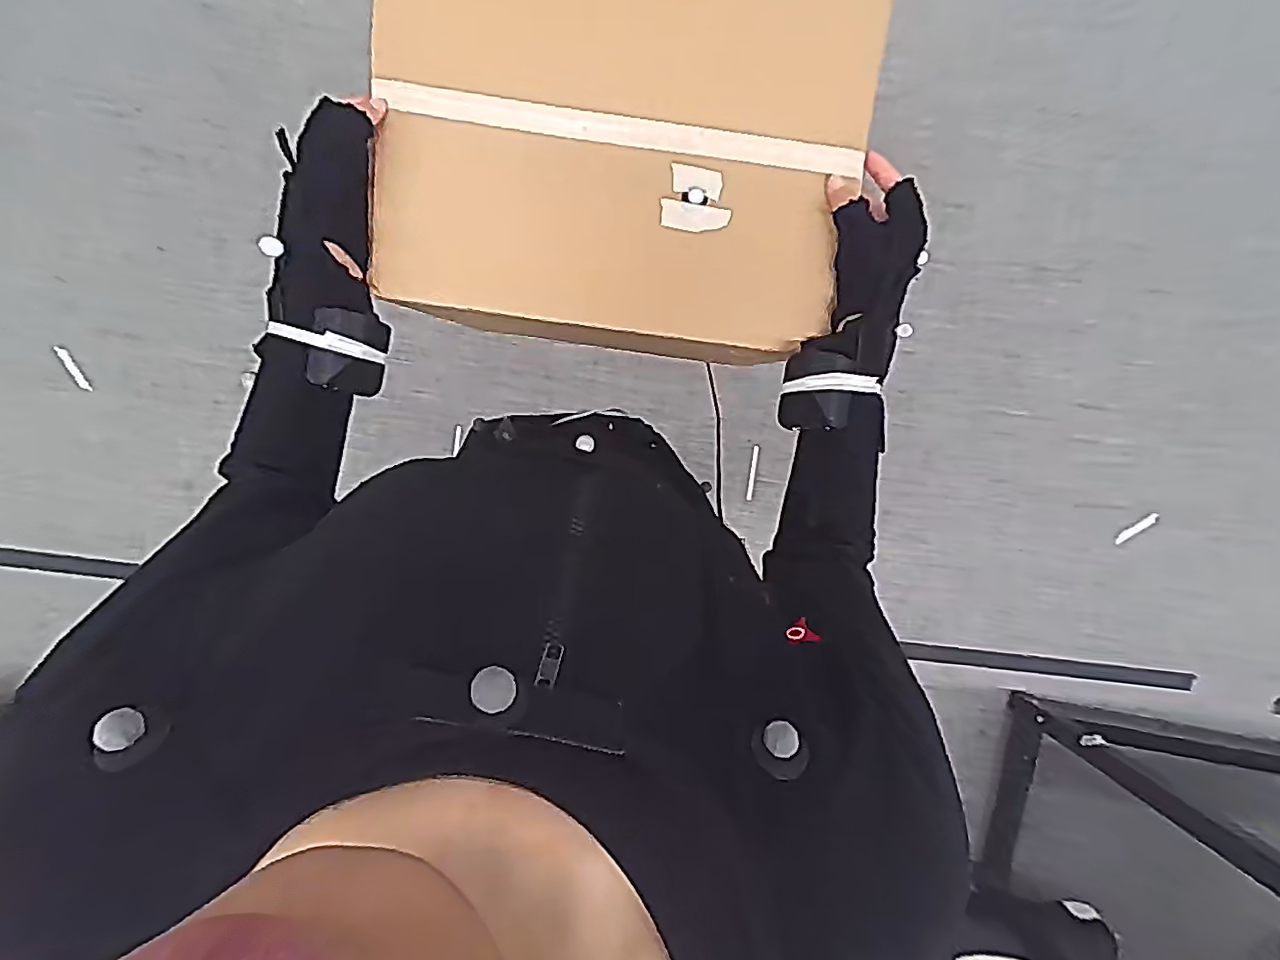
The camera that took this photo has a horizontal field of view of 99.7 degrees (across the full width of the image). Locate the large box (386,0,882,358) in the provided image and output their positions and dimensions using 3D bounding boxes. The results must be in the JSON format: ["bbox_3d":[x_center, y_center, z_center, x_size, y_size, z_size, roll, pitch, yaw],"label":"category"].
[{"bbox_3d":[-0.018,-0.319,0.607,0.408,0.320,0.320,7,101,-3],"label":"large box"}]
